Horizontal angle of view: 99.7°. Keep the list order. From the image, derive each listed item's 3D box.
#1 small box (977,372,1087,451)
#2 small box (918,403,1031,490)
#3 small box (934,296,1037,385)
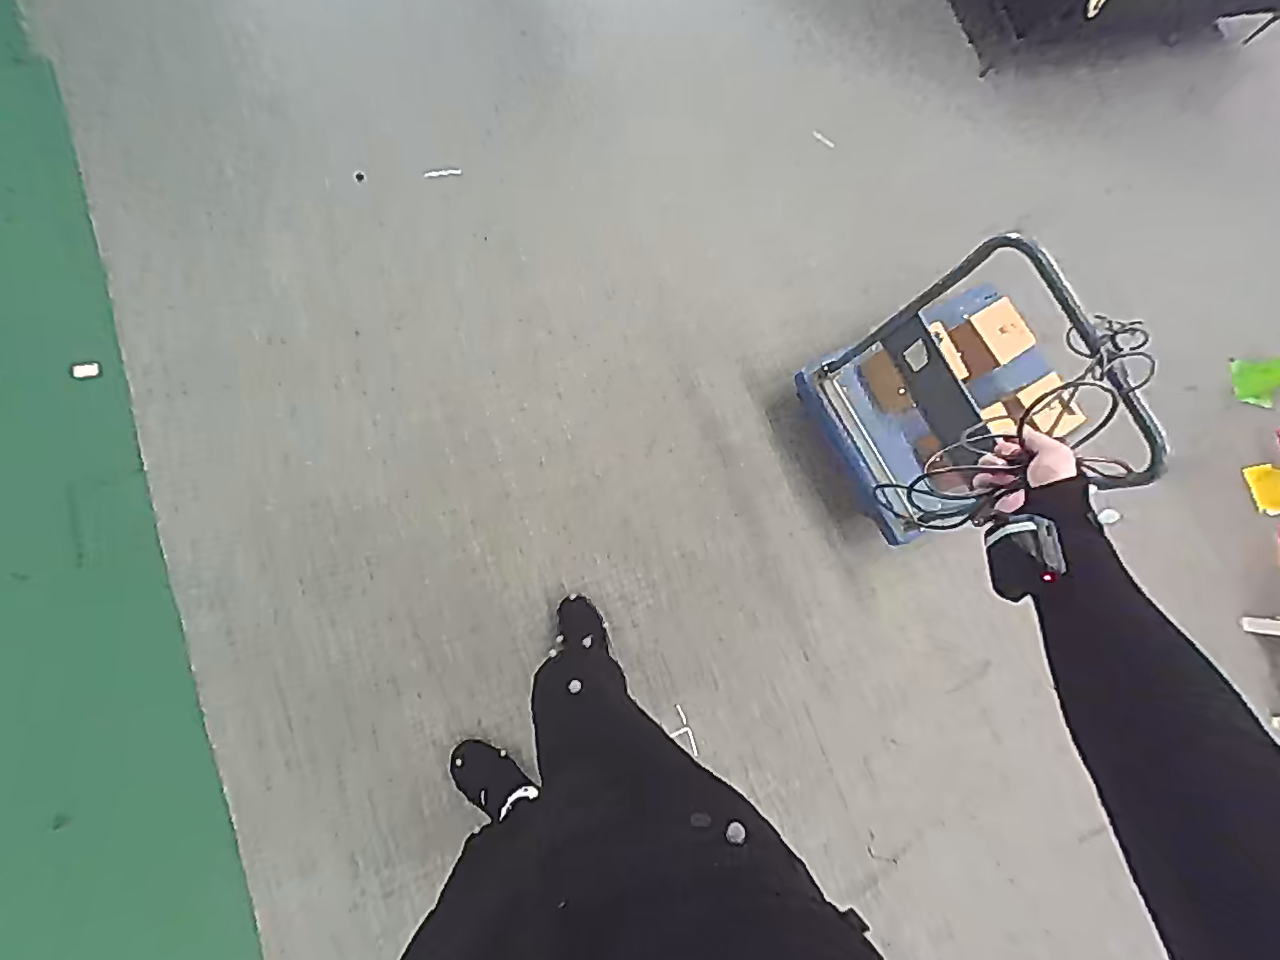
[{"bbox_3d":[1.142,-0.186,1.592,0.179,0.176,0.168,-28,83,-18],"label":"small box"},{"bbox_3d":[0.930,-0.090,1.517,0.179,0.176,0.168,-24,83,-17],"label":"small box"},{"bbox_3d":[1.023,-0.411,1.622,0.179,0.176,0.168,-30,85,-19],"label":"small box"}]
